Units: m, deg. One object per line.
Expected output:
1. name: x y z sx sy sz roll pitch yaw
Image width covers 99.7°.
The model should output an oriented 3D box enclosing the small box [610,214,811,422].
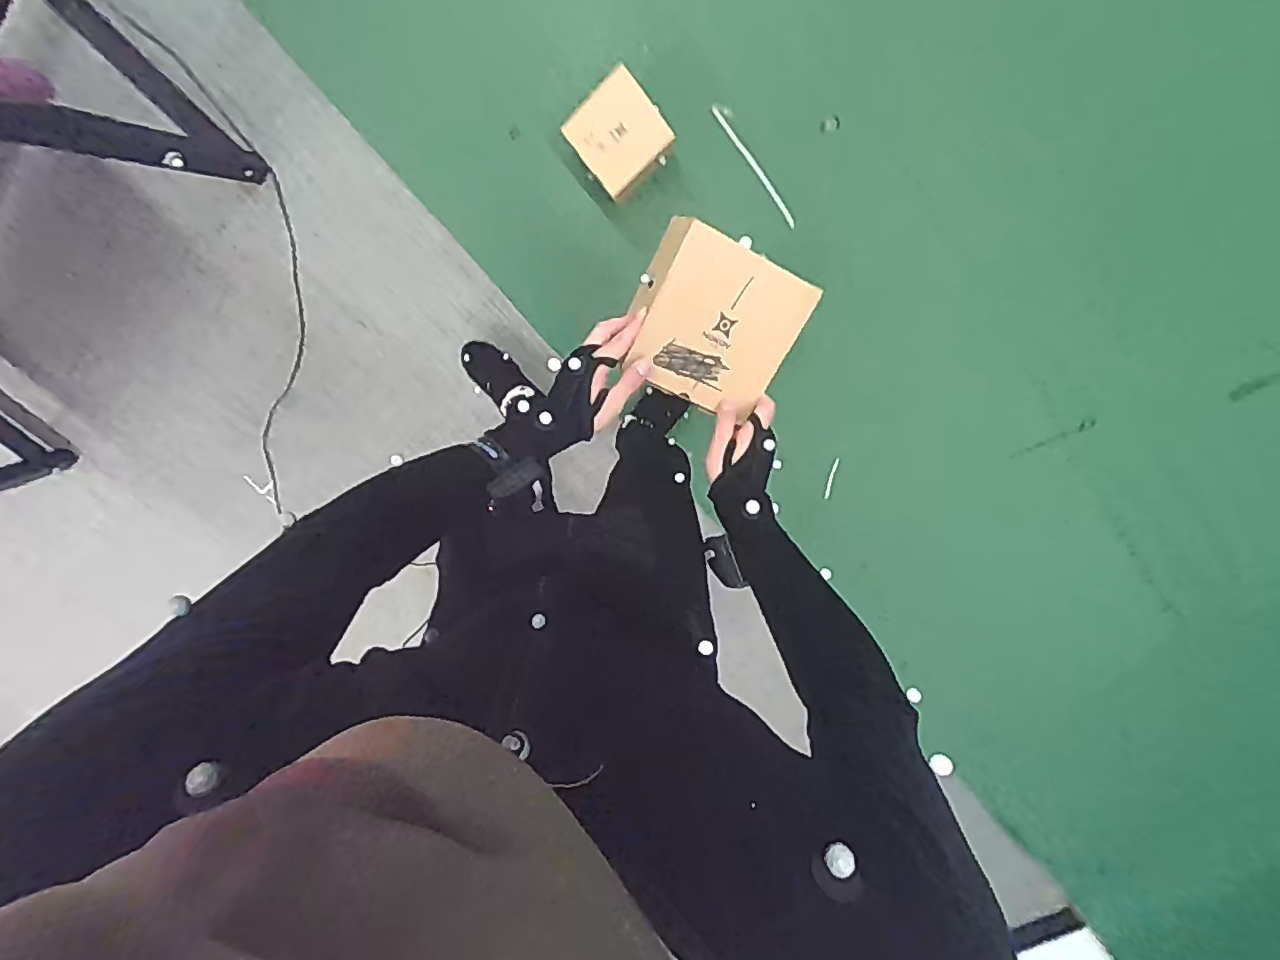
1. small box: 0.071 -0.202 0.664 0.168 0.176 0.179 22 112 -16

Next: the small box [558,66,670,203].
1. small box: -0.053 -0.741 1.183 0.179 0.176 0.168 -37 105 16
